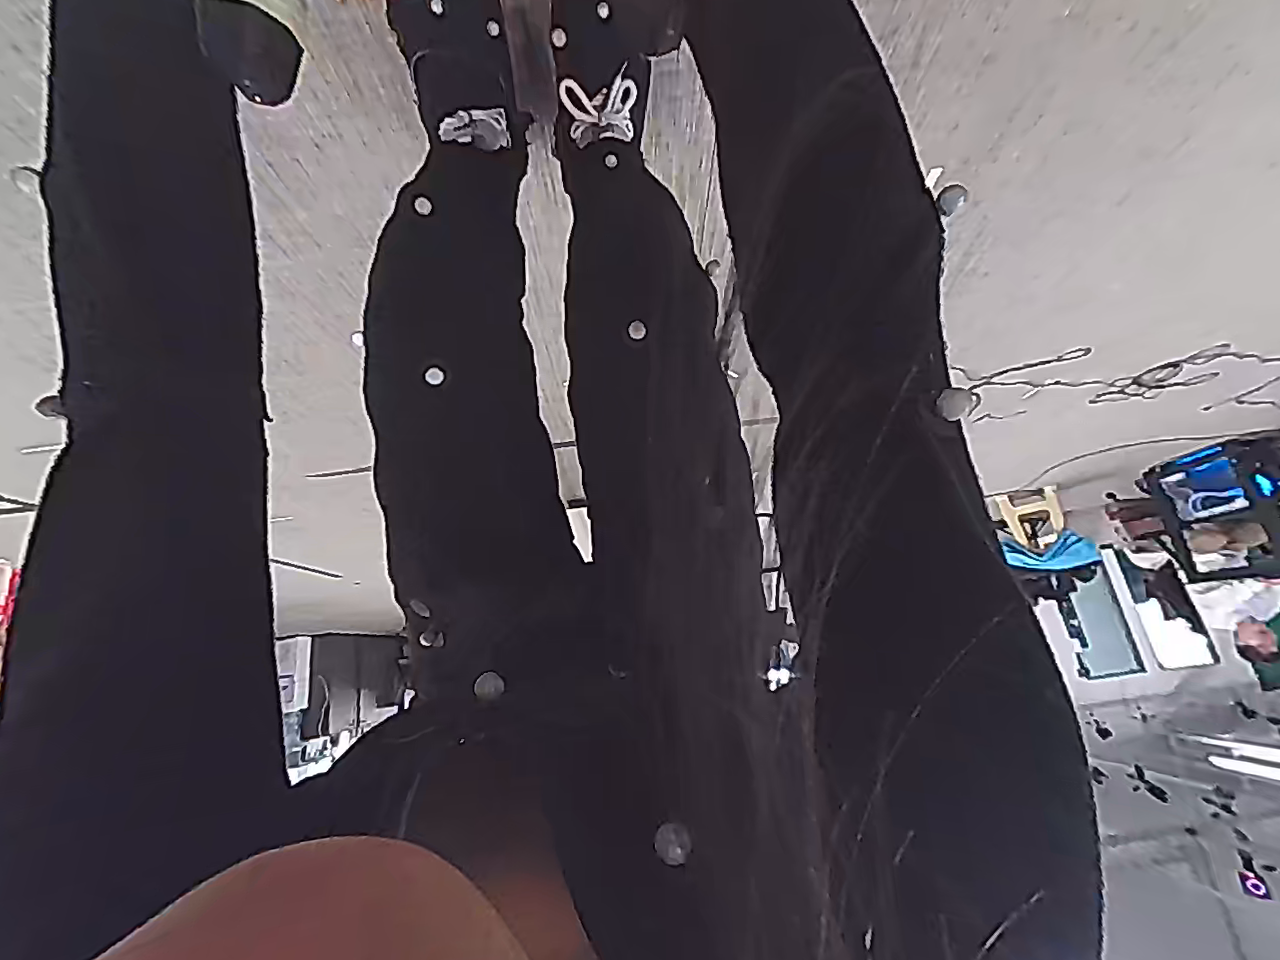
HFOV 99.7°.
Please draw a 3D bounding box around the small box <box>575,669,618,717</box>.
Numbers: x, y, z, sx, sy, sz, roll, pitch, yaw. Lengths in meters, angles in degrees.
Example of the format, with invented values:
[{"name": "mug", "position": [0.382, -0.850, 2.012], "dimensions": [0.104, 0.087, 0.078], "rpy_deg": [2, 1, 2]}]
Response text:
[{"name": "small box", "position": [-0.185, 0.907, 2.317], "dimensions": [0.168, 0.176, 0.179], "rpy_deg": [-7, 163, -5]}]
